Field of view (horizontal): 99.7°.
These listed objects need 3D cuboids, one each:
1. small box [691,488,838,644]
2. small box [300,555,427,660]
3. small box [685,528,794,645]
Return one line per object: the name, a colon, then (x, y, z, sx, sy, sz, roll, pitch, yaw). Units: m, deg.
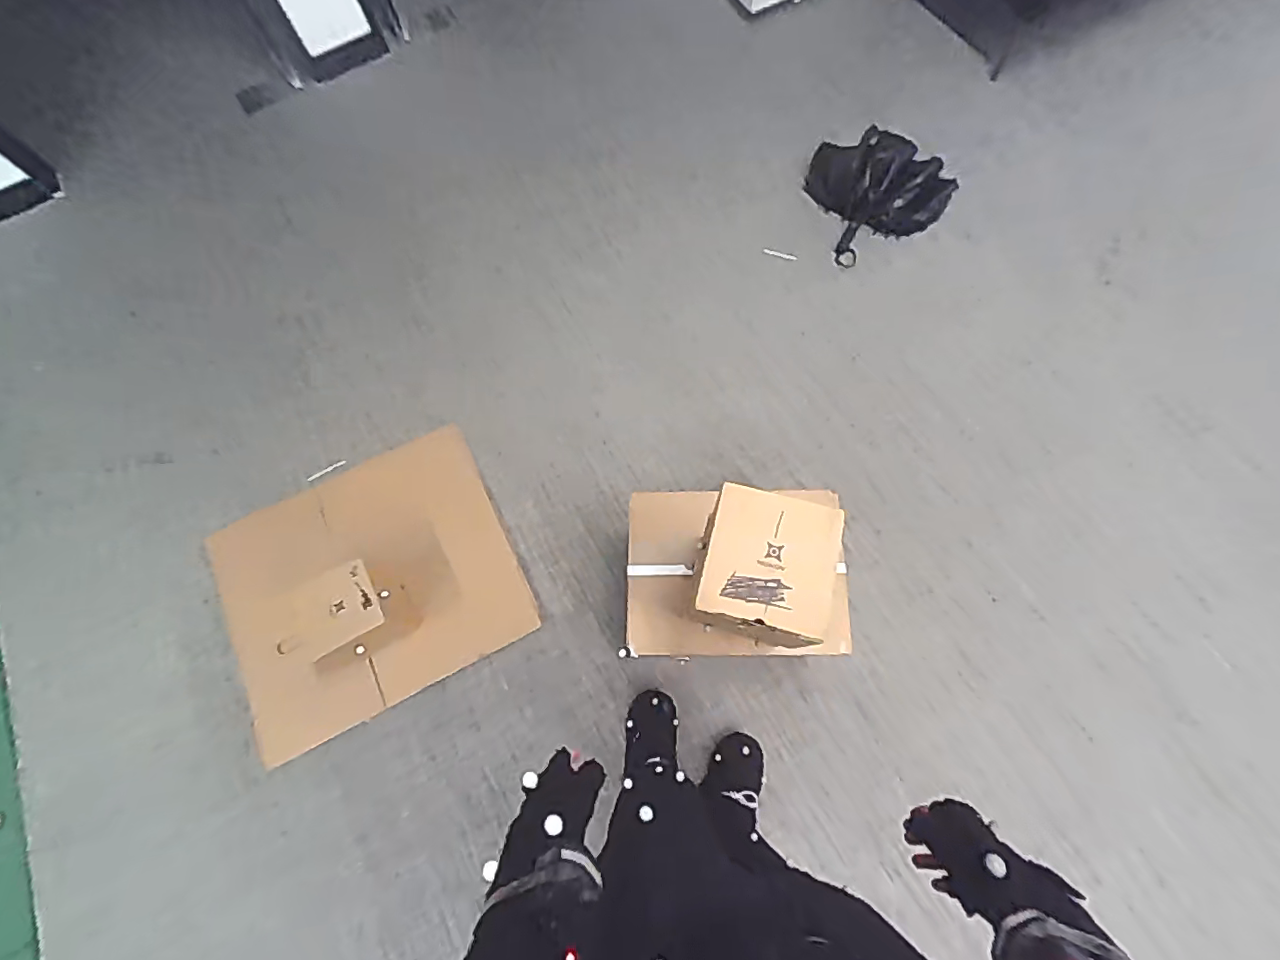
small box: (0.169, 0.131, 0.776, 0.168, 0.176, 0.179, 11, 73, 6)
small box: (-0.631, 0.303, 1.249, 0.179, 0.176, 0.168, -32, 70, -6)
small box: (0.181, 0.180, 0.932, 0.179, 0.176, 0.168, 13, 72, 9)
